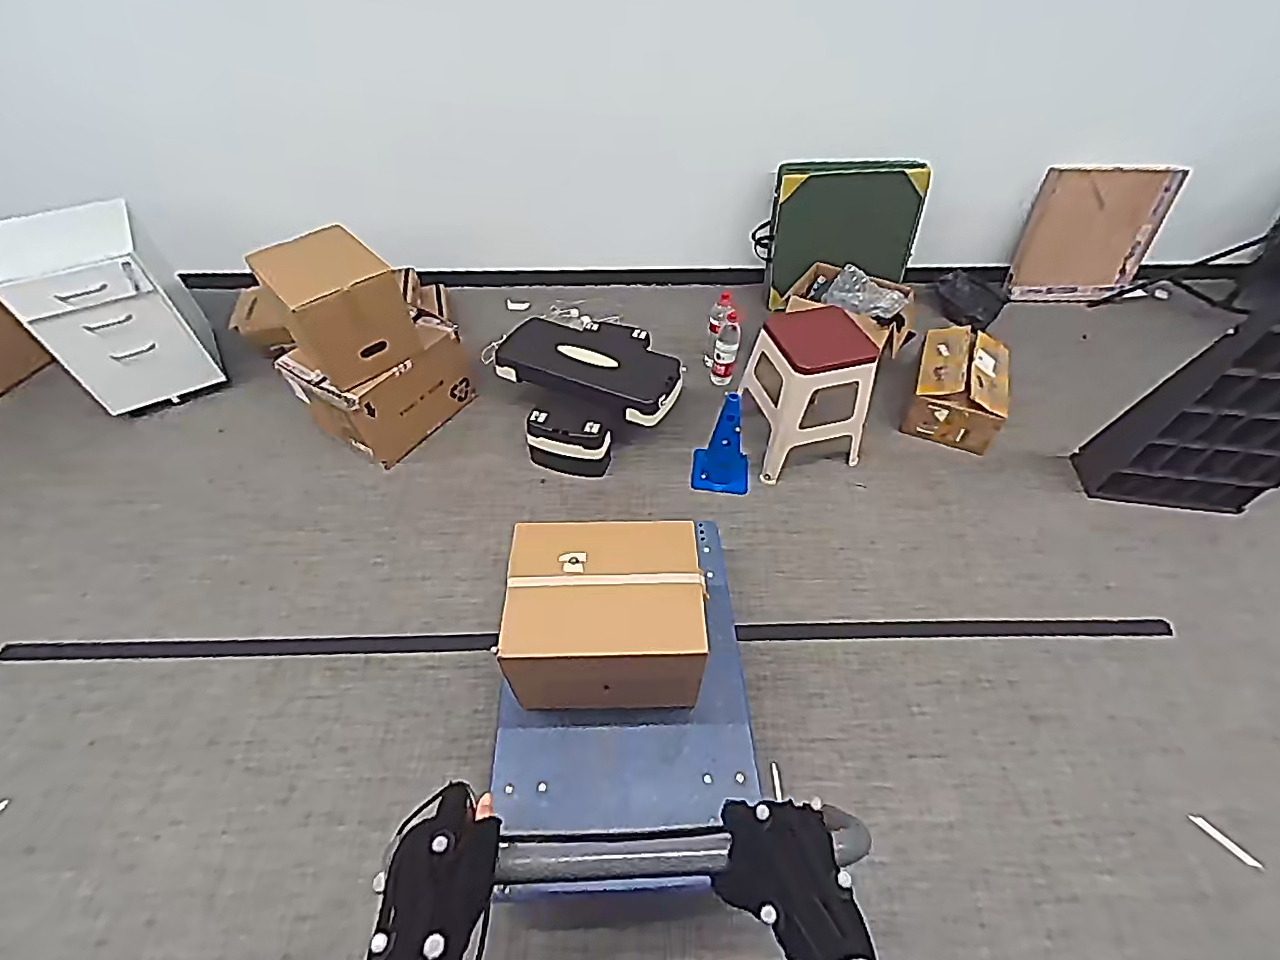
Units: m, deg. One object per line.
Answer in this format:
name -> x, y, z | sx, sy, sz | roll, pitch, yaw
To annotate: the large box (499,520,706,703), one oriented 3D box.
large box -> -0.074, 0.307, 1.242 | 0.408, 0.320, 0.320 | -1, 50, -1
